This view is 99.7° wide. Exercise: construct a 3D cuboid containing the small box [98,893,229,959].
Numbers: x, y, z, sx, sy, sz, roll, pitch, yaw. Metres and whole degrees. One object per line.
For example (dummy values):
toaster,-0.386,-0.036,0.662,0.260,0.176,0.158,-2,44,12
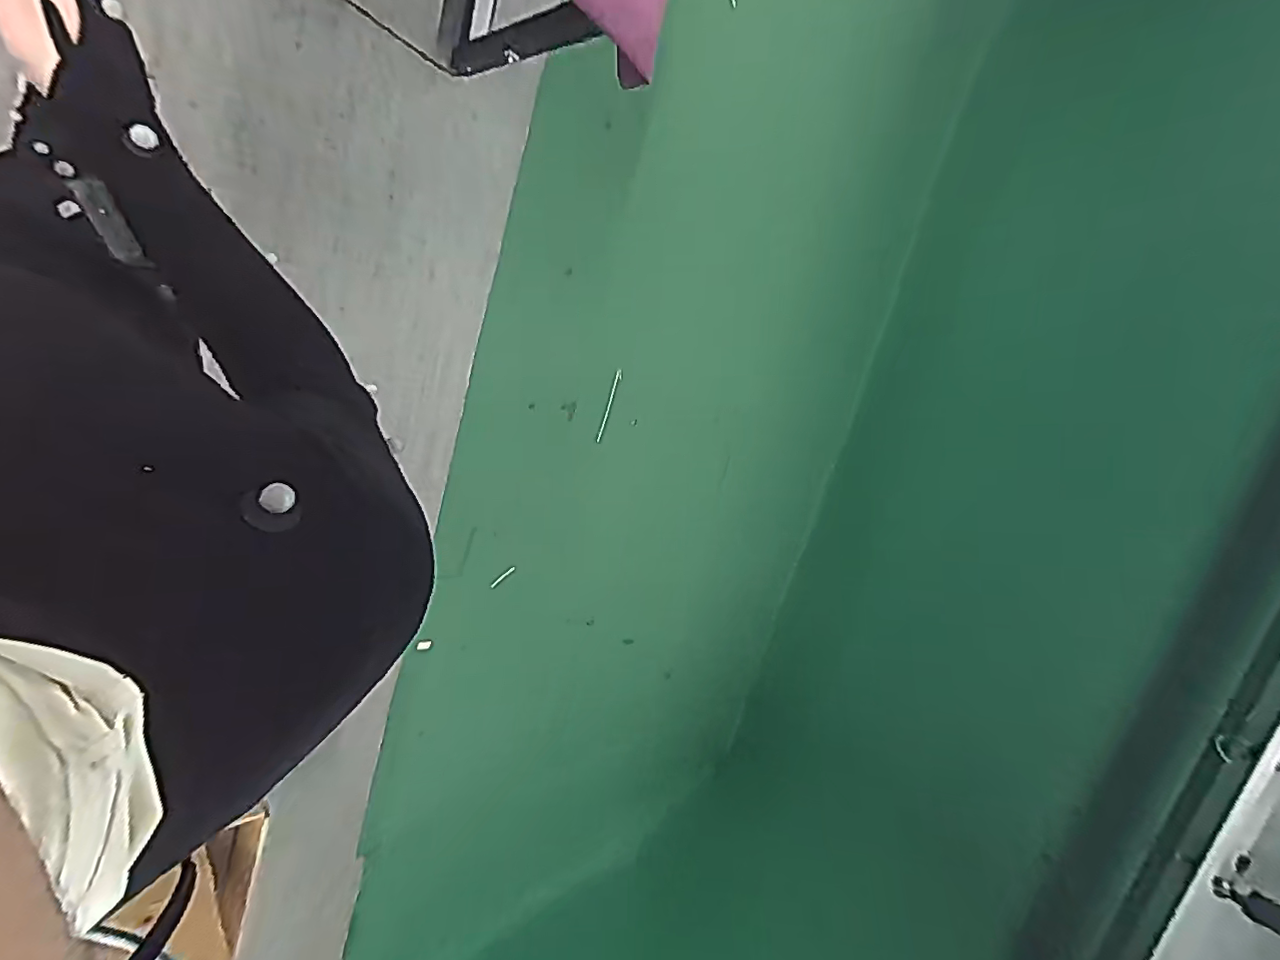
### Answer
small box,-0.892,0.934,1.004,0.168,0.176,0.179,7,103,-50
